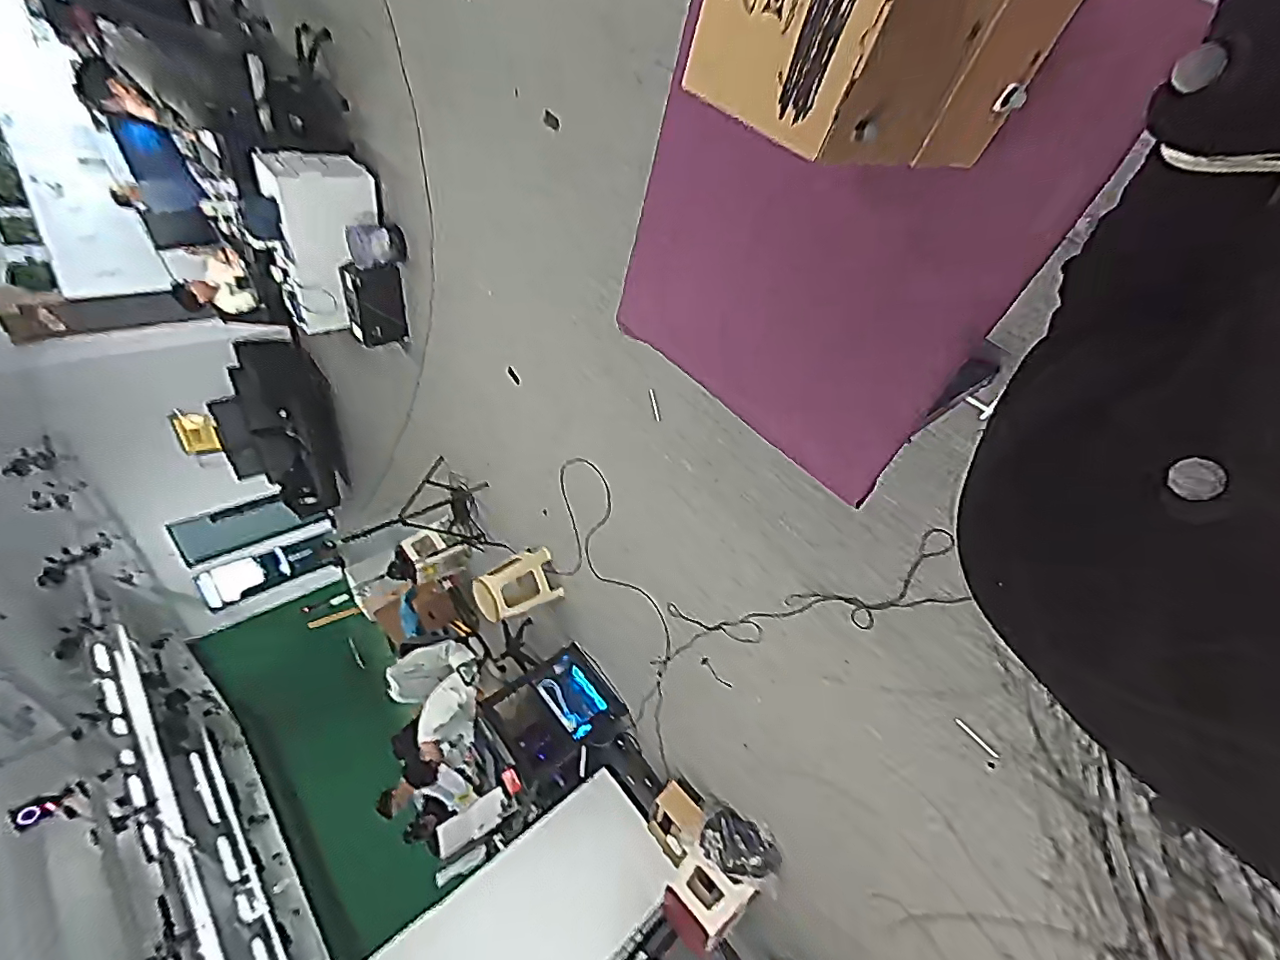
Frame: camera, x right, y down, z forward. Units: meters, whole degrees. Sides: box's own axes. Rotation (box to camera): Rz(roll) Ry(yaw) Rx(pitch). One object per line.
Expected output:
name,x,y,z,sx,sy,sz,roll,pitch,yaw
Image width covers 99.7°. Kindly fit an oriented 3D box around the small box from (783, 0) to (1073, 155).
small box,0.291,-0.454,0.557,0.179,0.176,0.168,46,140,24
